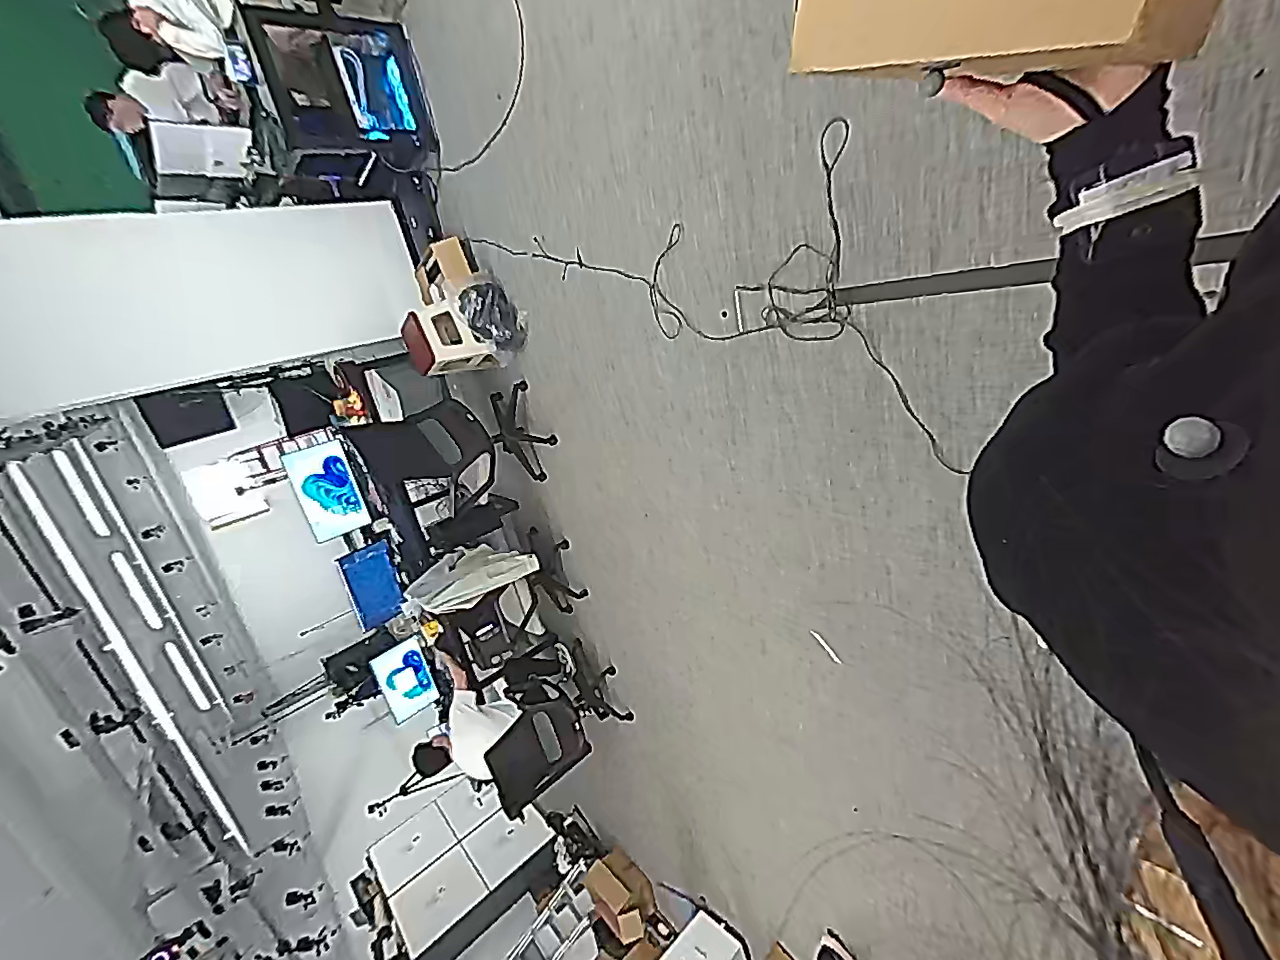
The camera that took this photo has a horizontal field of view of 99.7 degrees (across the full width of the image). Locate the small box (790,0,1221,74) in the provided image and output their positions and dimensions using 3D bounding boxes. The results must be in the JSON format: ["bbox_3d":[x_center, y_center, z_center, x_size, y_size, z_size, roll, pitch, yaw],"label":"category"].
[{"bbox_3d":[0.208,-0.320,0.282,0.179,0.176,0.168,30,136,38],"label":"small box"}]
